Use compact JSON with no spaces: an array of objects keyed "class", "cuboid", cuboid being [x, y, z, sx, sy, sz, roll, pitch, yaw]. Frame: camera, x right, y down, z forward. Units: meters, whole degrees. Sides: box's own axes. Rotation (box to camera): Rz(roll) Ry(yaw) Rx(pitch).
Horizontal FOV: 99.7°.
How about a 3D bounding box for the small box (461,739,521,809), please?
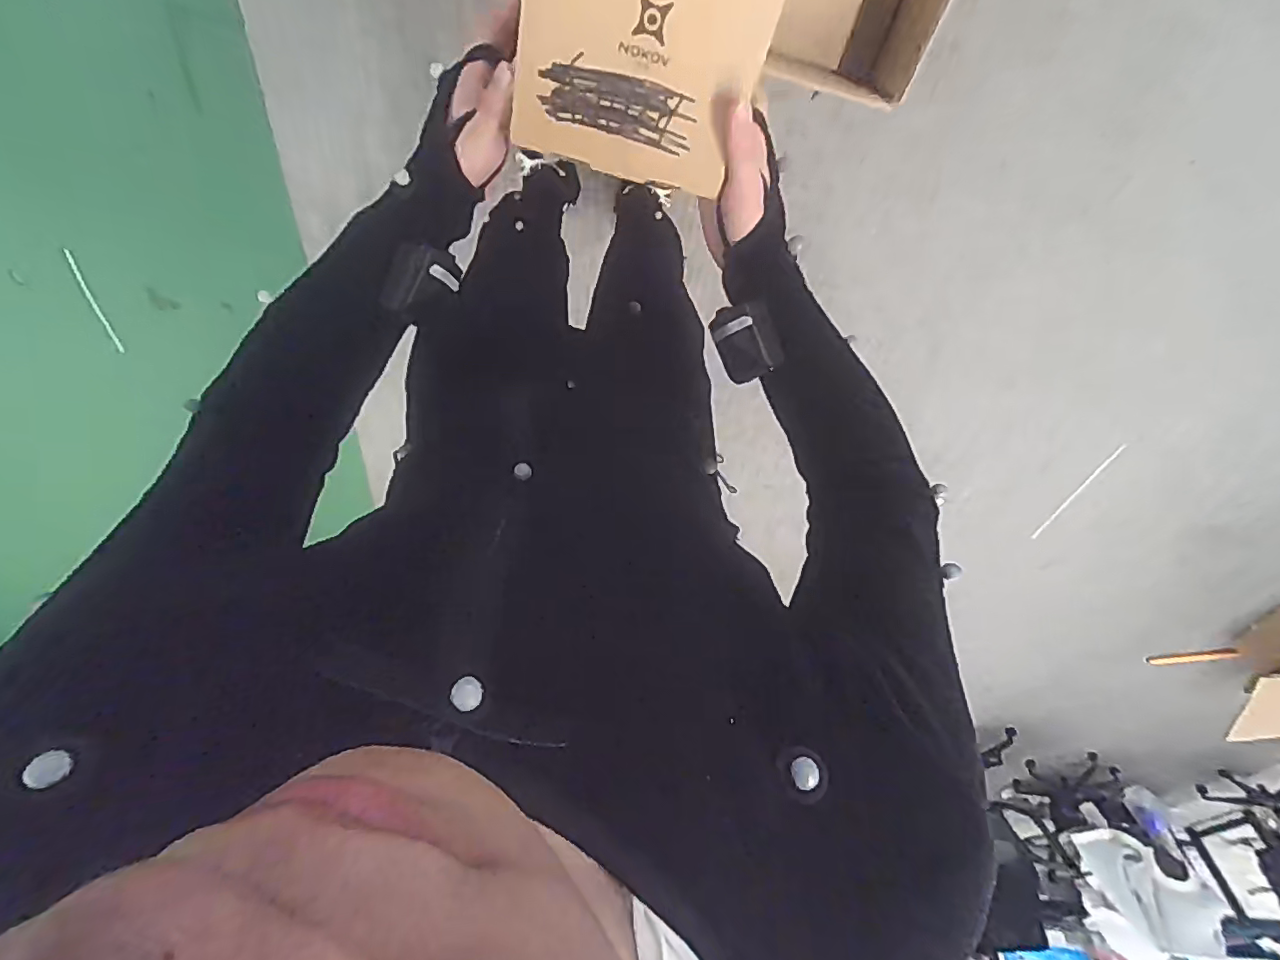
[{"class":"small box","cuboid":[-0.515,1.029,1.893,0.168,0.176,0.179,9,135,-4]}]
